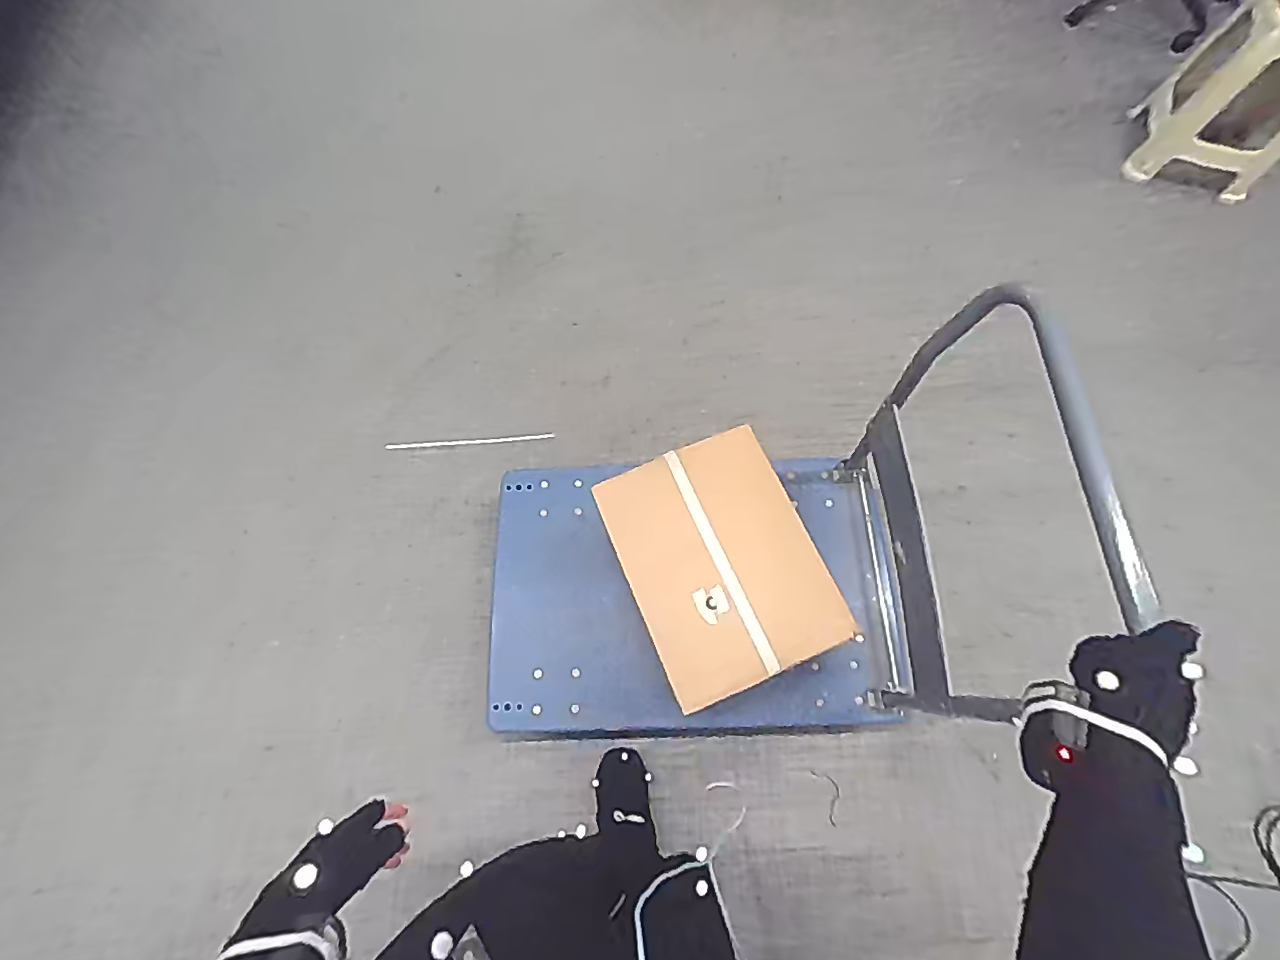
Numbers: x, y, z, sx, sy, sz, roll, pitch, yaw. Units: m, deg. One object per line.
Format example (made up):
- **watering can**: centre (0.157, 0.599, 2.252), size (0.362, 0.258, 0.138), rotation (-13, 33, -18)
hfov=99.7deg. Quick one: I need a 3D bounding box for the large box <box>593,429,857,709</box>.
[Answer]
- **large box**: centre (0.134, 0.179, 1.057), size (0.320, 0.320, 0.408), rotation (-23, 72, -6)
